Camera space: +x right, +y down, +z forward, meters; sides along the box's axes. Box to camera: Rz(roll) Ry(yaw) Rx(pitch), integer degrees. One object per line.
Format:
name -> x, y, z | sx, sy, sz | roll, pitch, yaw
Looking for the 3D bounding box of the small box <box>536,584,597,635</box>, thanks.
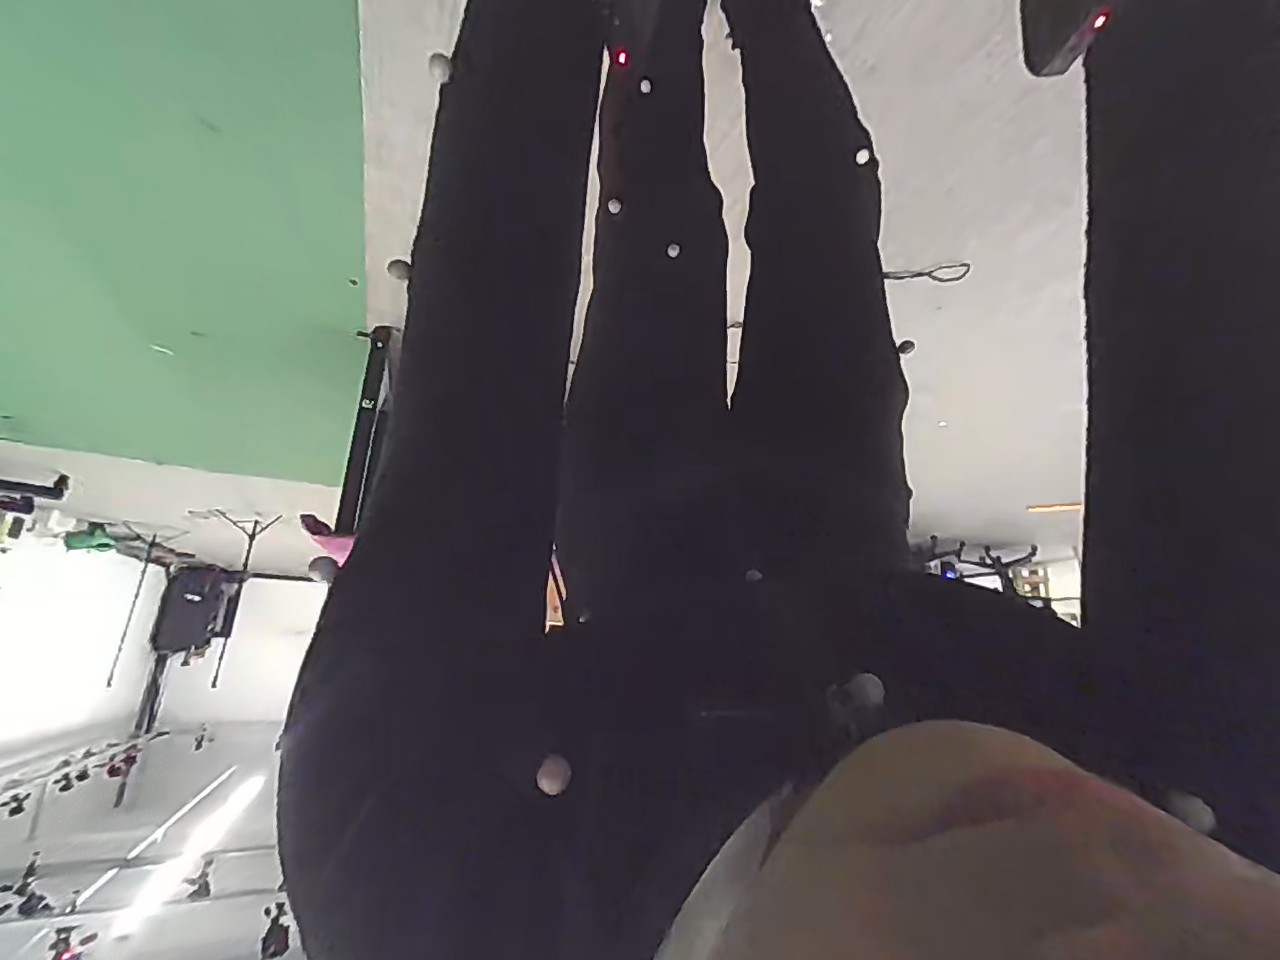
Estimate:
small box -> -0.270, 0.476, 1.989 | 0.179, 0.176, 0.168 | 10, 161, -23
